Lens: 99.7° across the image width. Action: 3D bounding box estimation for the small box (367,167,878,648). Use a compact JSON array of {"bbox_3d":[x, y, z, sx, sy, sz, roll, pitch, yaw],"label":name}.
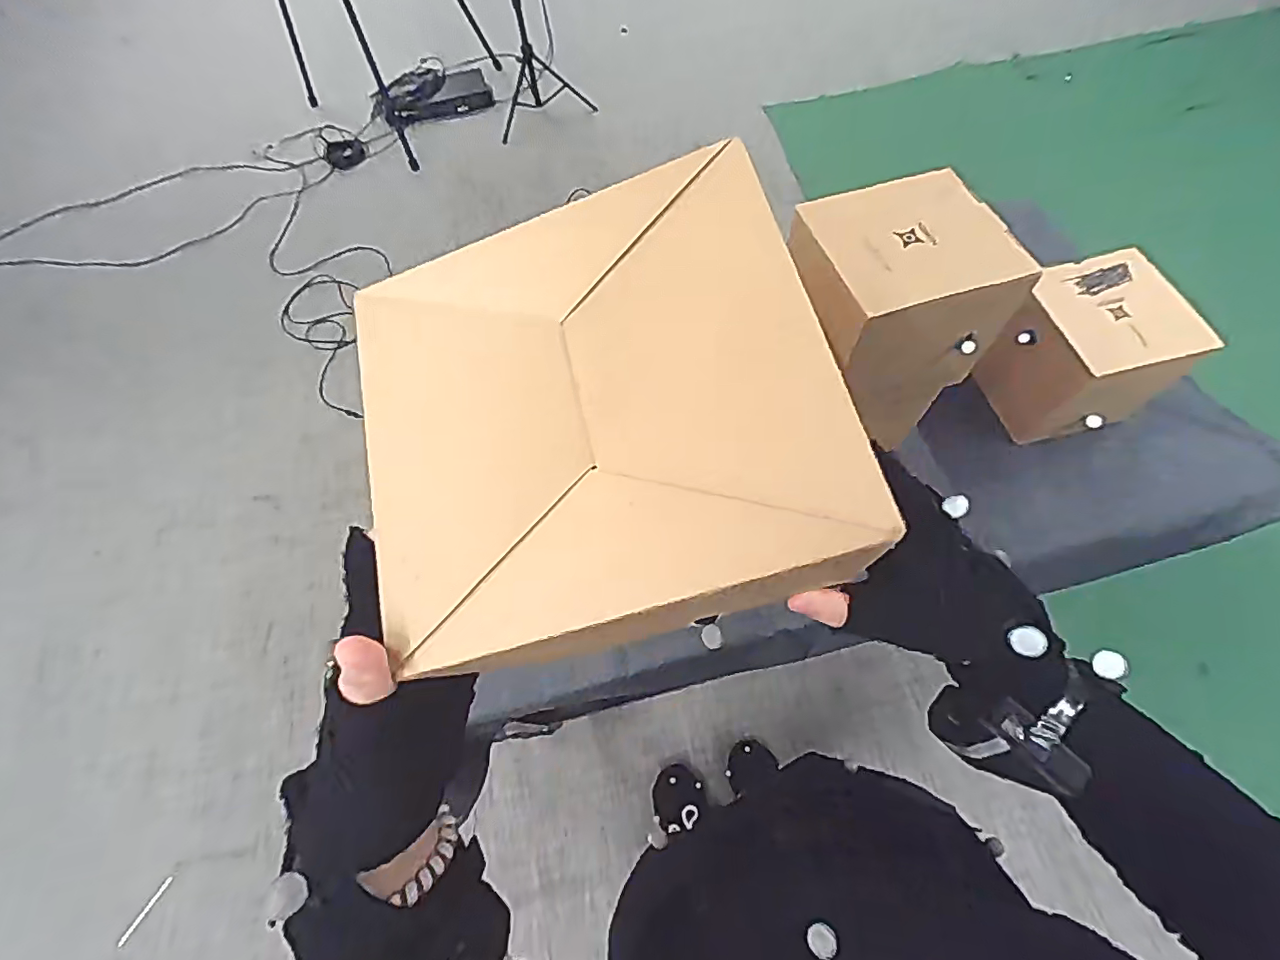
[{"bbox_3d":[-0.001,-0.016,0.276,0.179,0.176,0.168,-18,71,9],"label":"small box"}]
